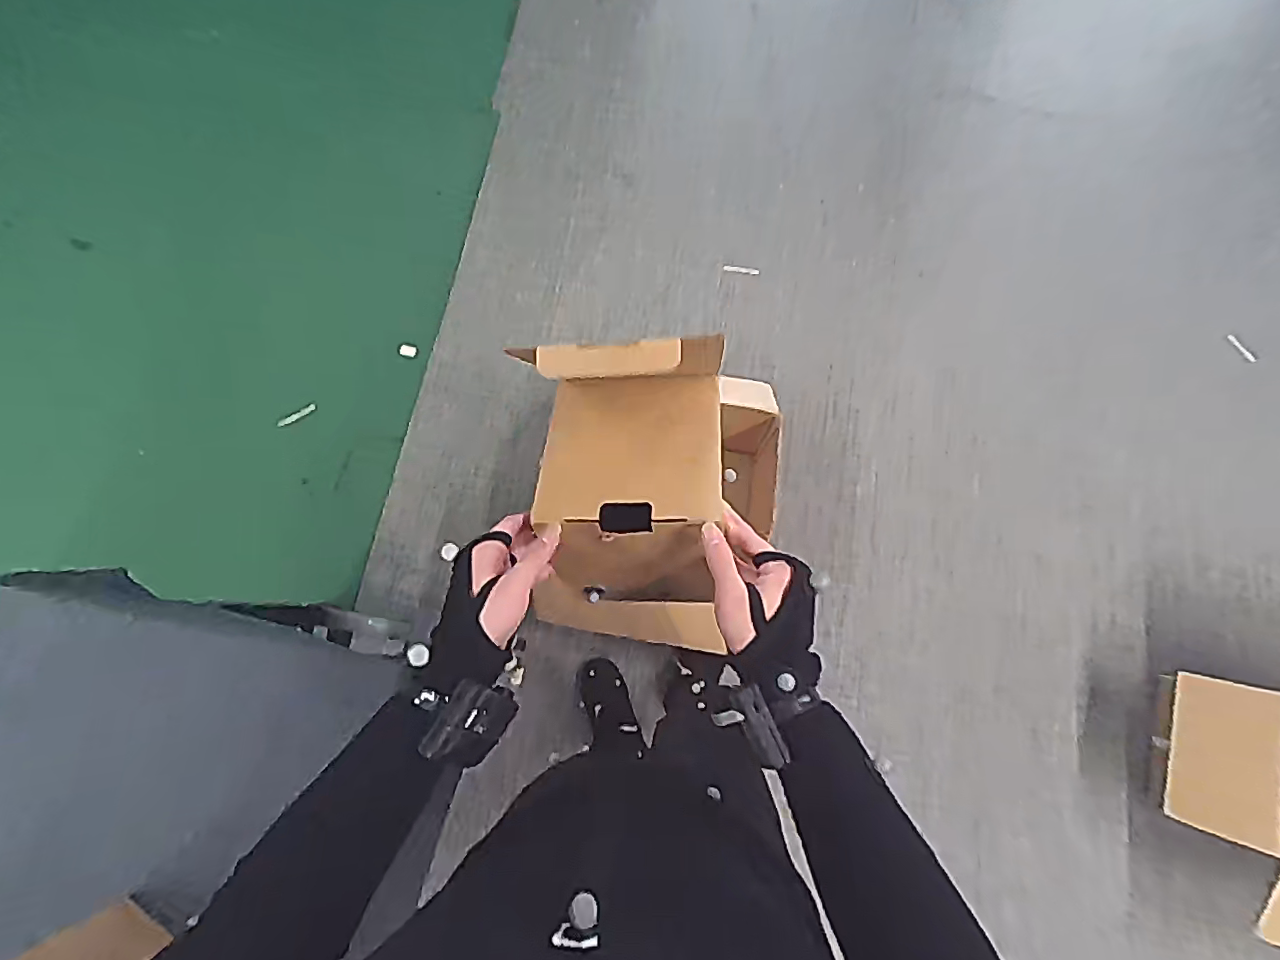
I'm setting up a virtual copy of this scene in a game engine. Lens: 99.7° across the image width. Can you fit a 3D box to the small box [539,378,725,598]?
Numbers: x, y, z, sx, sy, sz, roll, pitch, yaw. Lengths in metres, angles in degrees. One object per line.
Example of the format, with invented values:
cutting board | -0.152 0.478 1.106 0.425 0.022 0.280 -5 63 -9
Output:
small box | 0.006 0.014 0.576 0.168 0.176 0.179 1 53 7
